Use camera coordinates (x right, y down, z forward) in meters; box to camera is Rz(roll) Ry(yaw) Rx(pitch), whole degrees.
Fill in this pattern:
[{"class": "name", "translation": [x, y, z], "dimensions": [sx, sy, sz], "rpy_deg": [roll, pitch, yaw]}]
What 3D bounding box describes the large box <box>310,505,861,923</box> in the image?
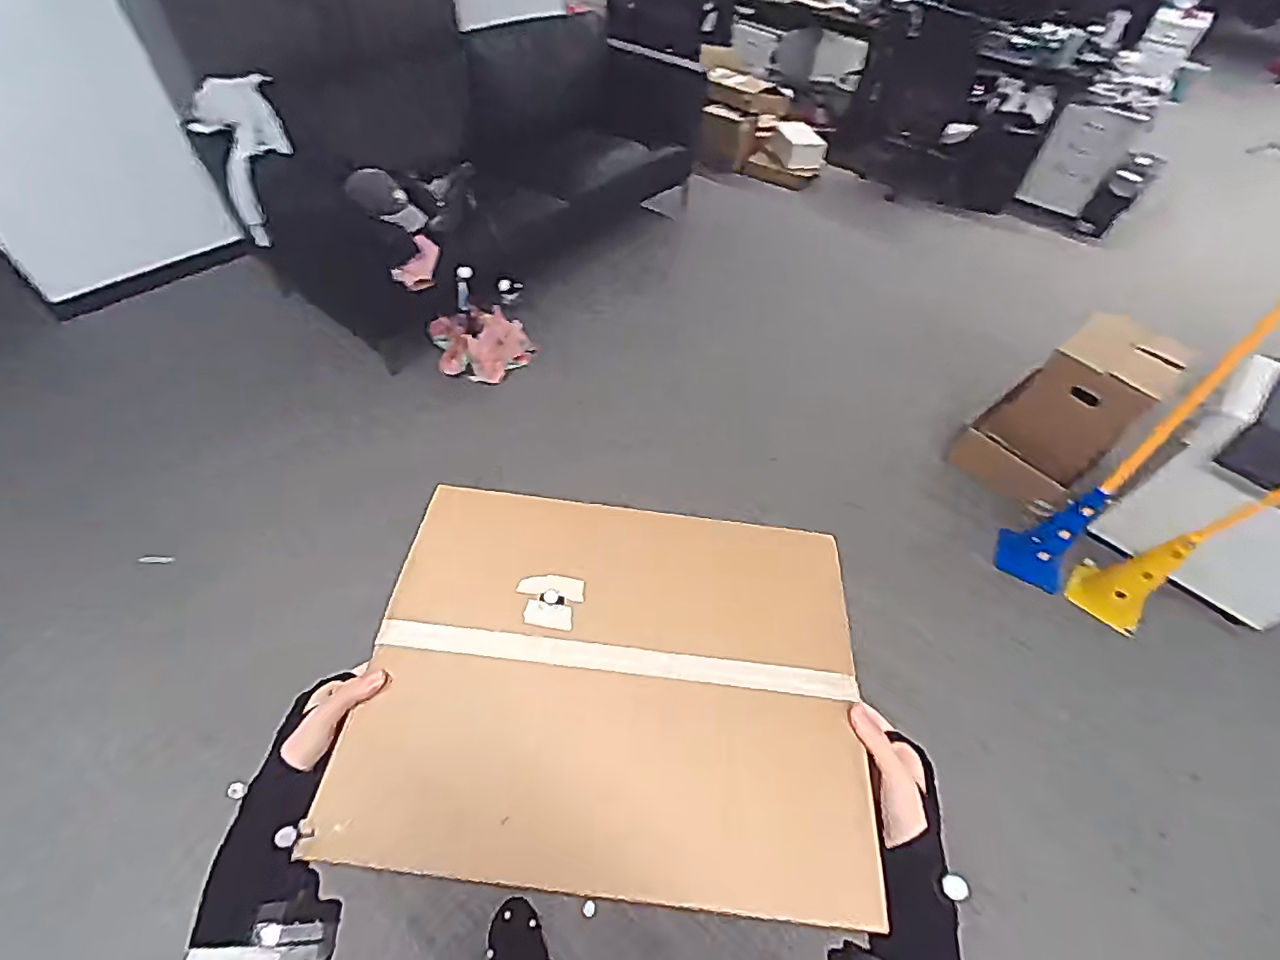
[{"class": "large box", "translation": [-0.033, 0.254, 0.590], "dimensions": [0.408, 0.320, 0.320], "rpy_deg": [7, 53, 1]}]
